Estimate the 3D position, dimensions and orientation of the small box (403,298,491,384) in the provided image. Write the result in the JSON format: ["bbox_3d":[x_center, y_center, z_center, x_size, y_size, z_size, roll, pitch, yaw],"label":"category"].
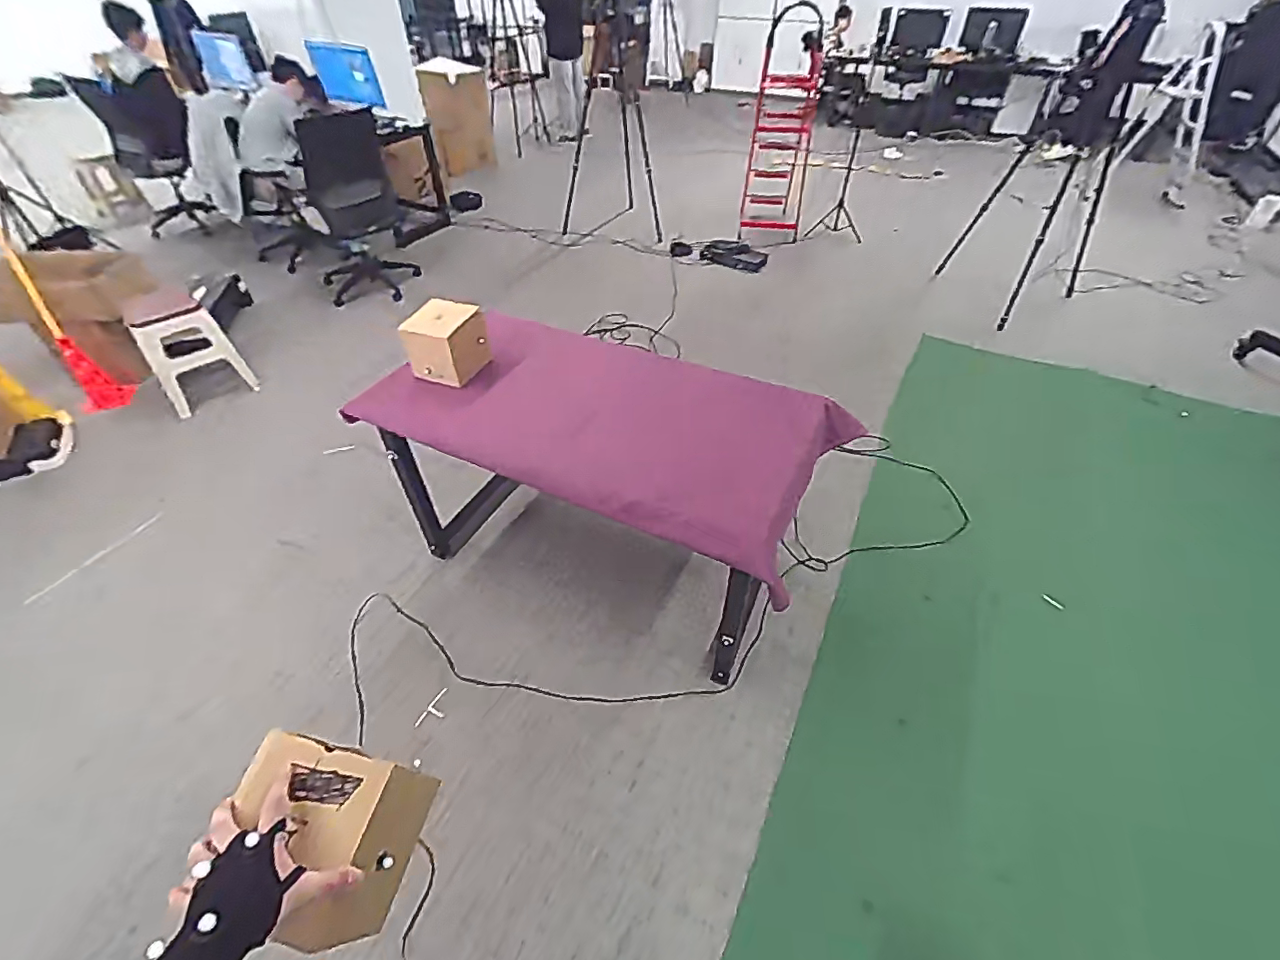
[{"bbox_3d":[-0.562,-0.413,1.605,0.168,0.176,0.179,15,47,16],"label":"small box"}]

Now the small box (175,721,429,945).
[{"bbox_3d":[-0.385,0.420,0.661,0.168,0.176,0.179,11,58,10],"label":"small box"}]
